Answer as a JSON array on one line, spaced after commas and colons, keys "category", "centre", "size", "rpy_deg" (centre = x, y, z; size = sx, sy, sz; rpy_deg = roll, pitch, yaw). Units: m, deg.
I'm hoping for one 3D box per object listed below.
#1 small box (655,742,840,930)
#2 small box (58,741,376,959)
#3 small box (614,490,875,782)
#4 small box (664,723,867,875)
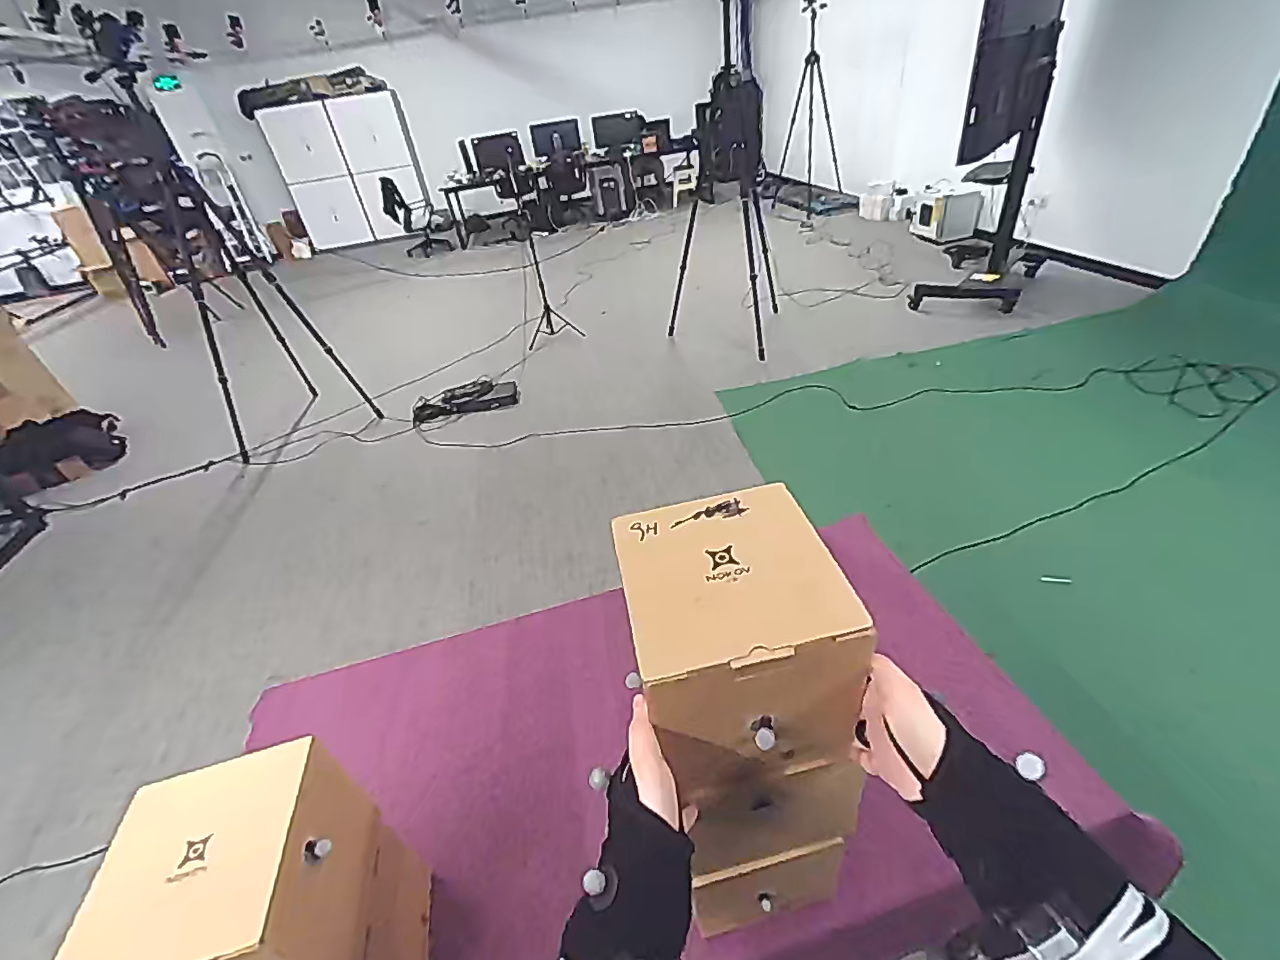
[{"category": "small box", "centre": [0.123, 0.411, 0.660], "size": [0.168, 0.176, 0.179], "rpy_deg": [-12, 36, -5]}, {"category": "small box", "centre": [-0.372, 0.392, 0.513], "size": [0.168, 0.176, 0.179], "rpy_deg": [-15, 37, -7]}, {"category": "small box", "centre": [0.080, 0.139, 0.477], "size": [0.168, 0.176, 0.179], "rpy_deg": [-12, 38, -3]}, {"category": "small box", "centre": [0.110, 0.276, 0.567], "size": [0.179, 0.176, 0.168], "rpy_deg": [-12, 36, -5]}]
